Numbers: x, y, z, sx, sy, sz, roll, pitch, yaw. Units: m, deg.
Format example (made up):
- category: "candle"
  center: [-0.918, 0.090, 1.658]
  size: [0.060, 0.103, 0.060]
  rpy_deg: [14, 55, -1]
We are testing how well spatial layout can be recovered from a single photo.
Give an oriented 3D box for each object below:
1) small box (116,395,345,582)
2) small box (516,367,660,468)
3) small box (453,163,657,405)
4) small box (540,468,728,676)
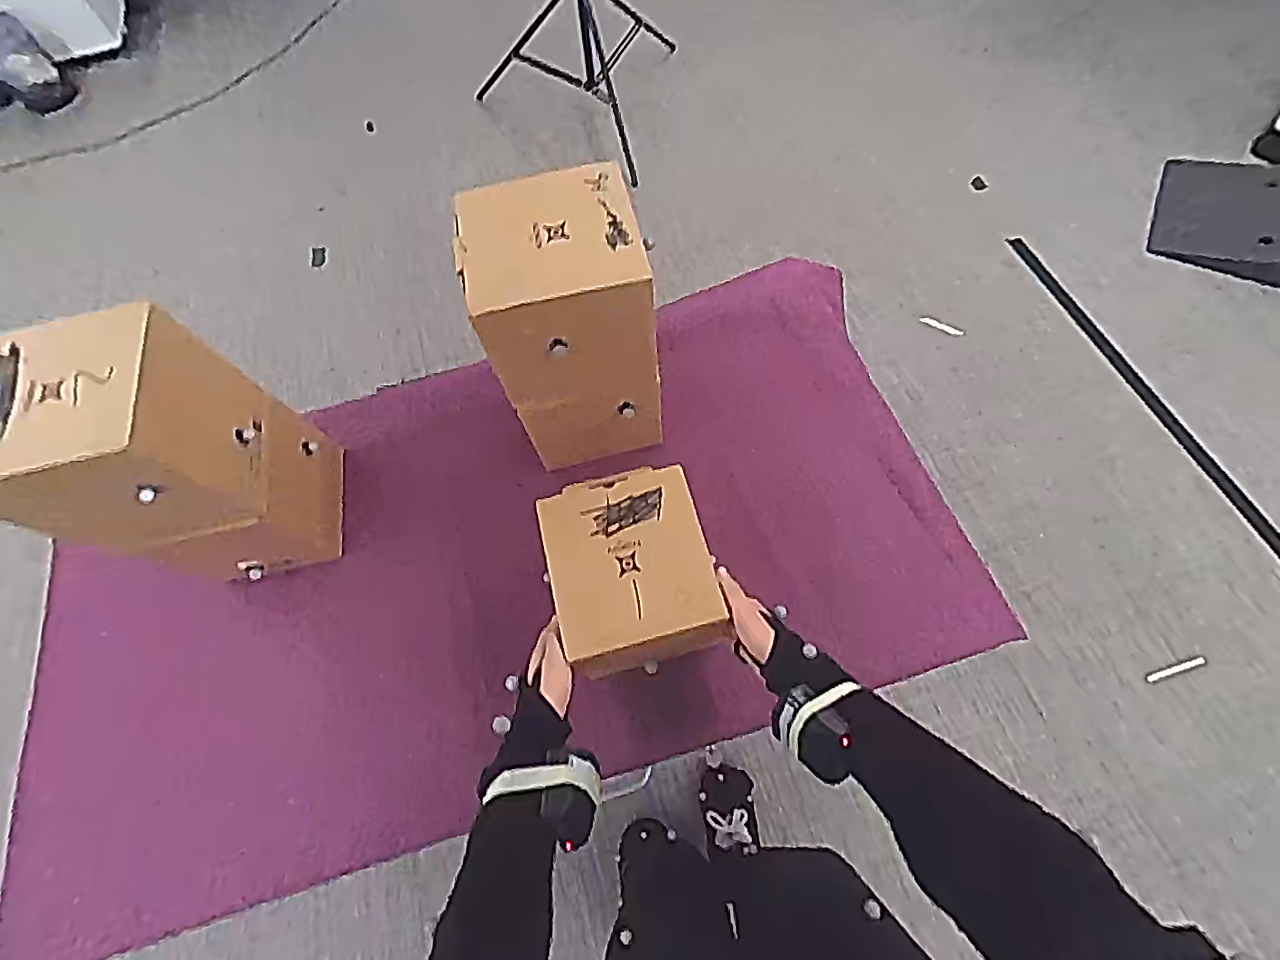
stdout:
- category: "small box"
  center: [-0.511, 0.018, 0.705]
  size: [0.168, 0.176, 0.179]
  rpy_deg: [-13, 68, -1]
- category: "small box"
  center: [-0.074, -0.136, 0.745]
  size: [0.179, 0.176, 0.168]
  rpy_deg: [-14, 66, -2]
- category: "small box"
  center: [-0.085, -0.203, 0.596]
  size: [0.179, 0.176, 0.168]
  rpy_deg: [-13, 67, -1]
- category: "small box"
  center: [-0.007, 0.113, 0.628]
  size: [0.168, 0.176, 0.179]
  rpy_deg: [-15, 65, -2]
